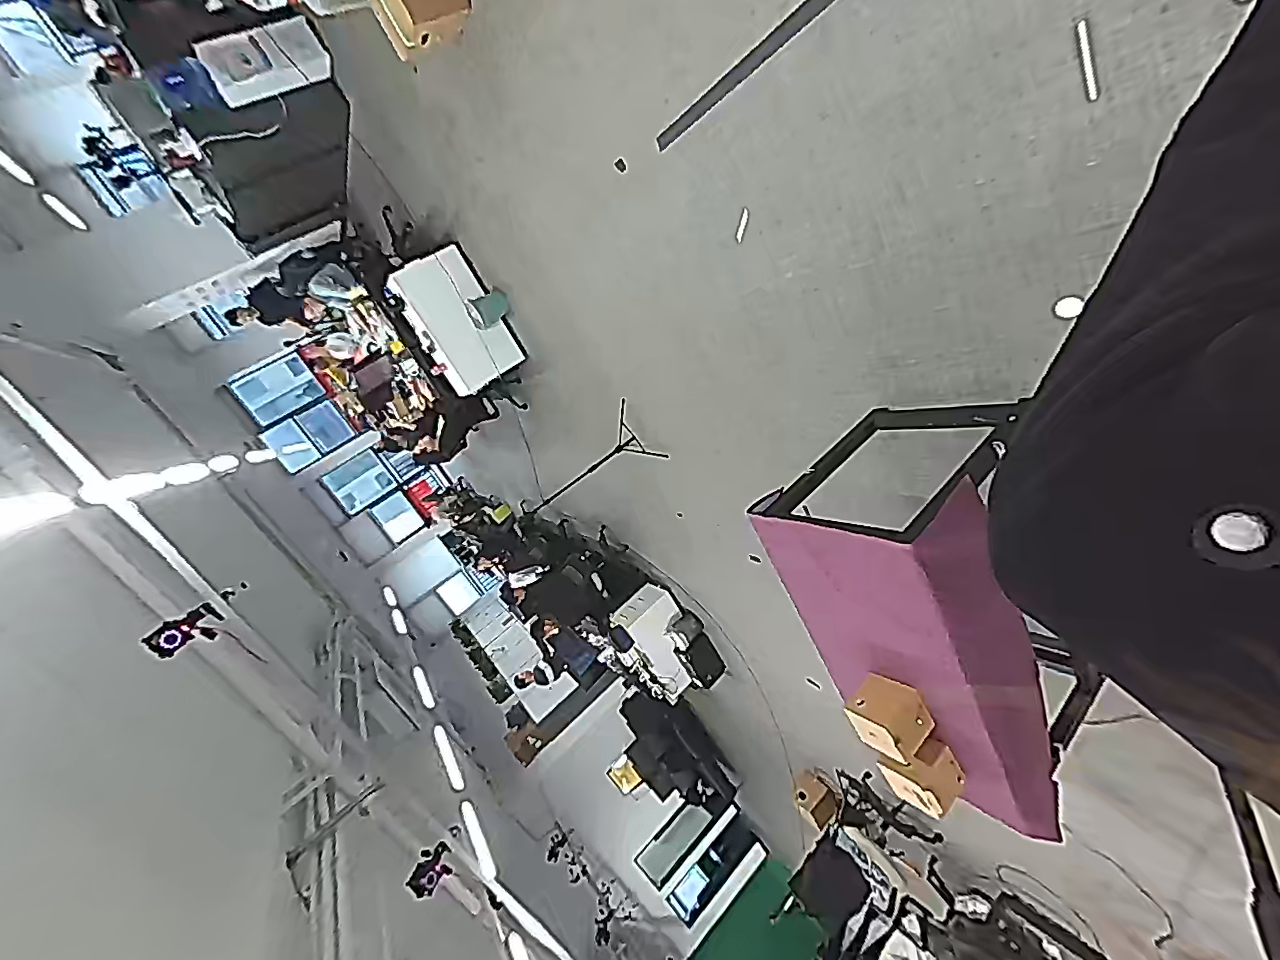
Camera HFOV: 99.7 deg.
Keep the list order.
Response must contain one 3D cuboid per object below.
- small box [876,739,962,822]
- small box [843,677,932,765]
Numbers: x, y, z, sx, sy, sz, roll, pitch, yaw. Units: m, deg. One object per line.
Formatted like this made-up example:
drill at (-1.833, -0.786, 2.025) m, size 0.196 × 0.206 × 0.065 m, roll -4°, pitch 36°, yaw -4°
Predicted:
small box at (0.942, 0.983, 1.813) m, size 0.168 × 0.176 × 0.179 m, roll 57°, pitch 159°, yaw -11°
small box at (0.805, 0.773, 1.758) m, size 0.168 × 0.176 × 0.179 m, roll 58°, pitch 157°, yaw -15°
